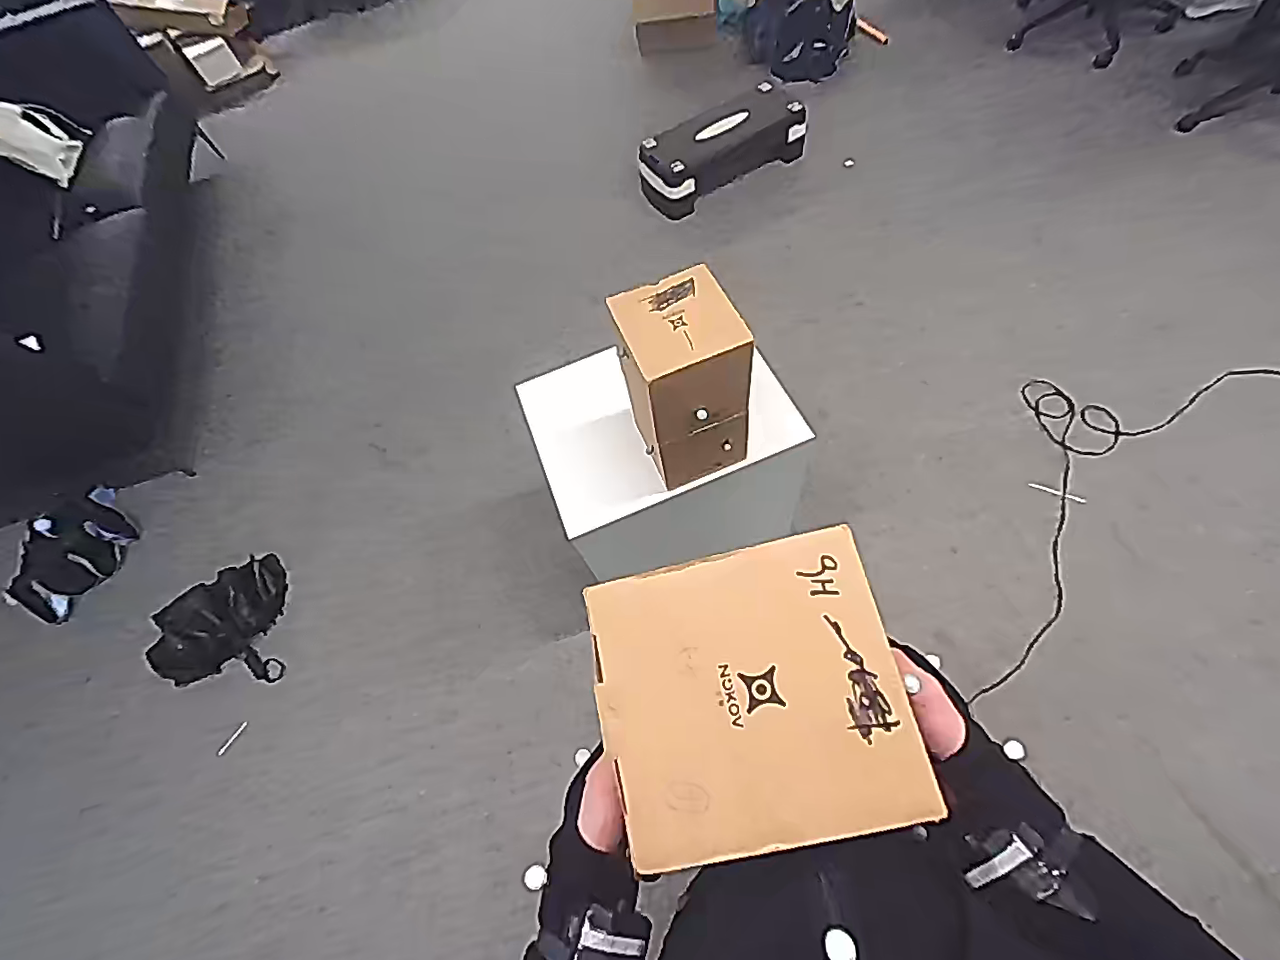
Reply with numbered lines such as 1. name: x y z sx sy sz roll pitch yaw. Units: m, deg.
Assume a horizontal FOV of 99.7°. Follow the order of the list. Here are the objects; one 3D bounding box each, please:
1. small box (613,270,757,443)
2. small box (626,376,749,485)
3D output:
1. small box: 0.069 -0.190 0.857 0.168 0.176 0.179 -21 62 -3
2. small box: 0.090 -0.111 1.000 0.168 0.176 0.179 -22 60 -4
